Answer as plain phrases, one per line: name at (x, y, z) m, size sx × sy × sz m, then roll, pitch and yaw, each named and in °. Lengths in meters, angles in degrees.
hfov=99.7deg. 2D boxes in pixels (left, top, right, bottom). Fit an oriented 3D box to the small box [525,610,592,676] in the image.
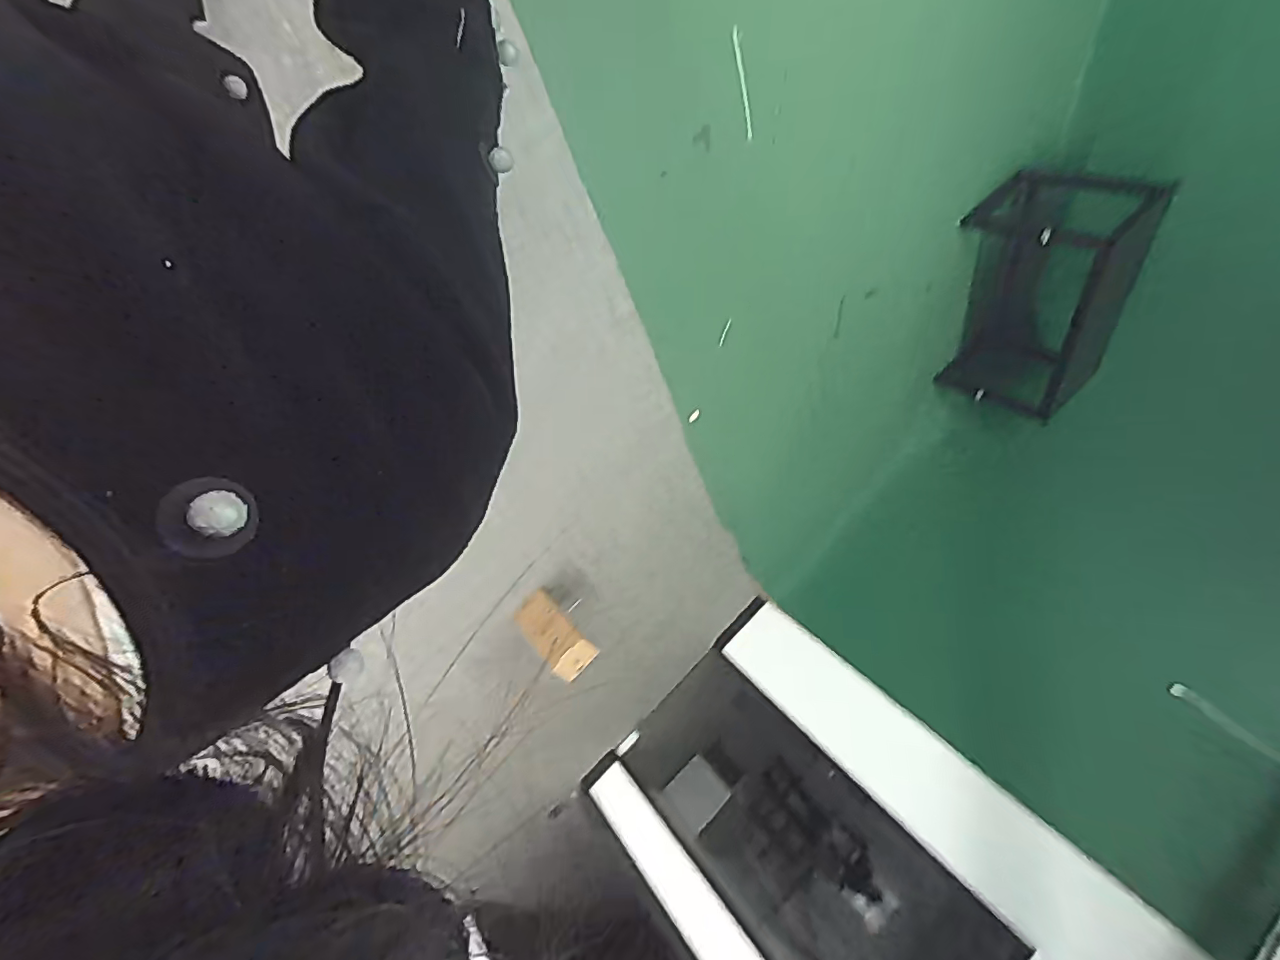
small box at (-0.332, 0.653, 2.183) m, size 0.168 × 0.176 × 0.179 m, roll -43°, pitch 140°, yaw -10°
